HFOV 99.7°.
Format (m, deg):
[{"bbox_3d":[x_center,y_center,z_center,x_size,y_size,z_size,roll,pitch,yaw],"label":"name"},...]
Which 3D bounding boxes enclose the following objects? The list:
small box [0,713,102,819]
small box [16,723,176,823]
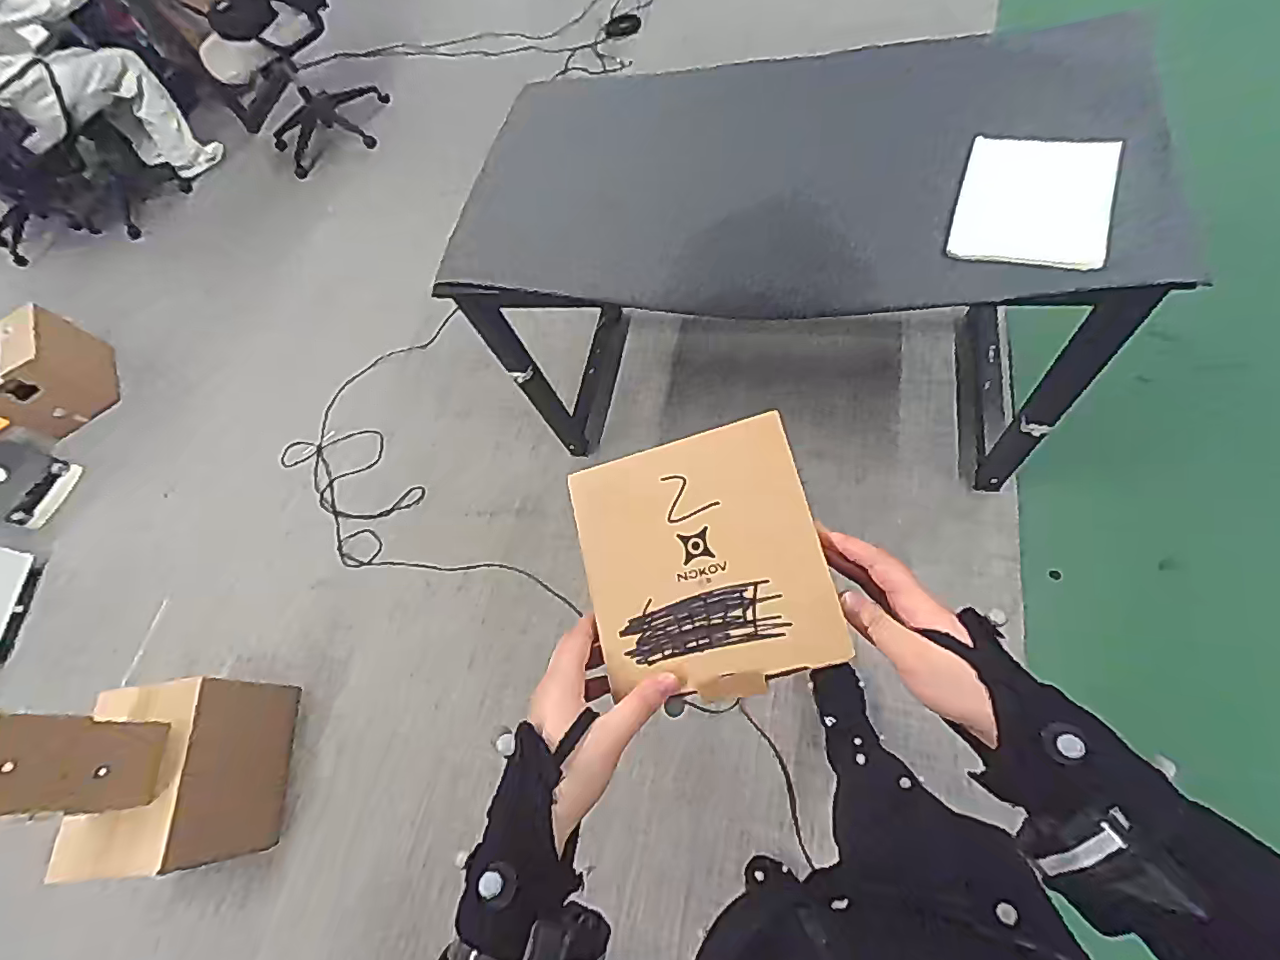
[{"bbox_3d":[-1.223,0.561,1.058,0.168,0.176,0.179,-10,64,9],"label":"small box"},{"bbox_3d":[-1.186,0.639,1.196,0.168,0.176,0.179,-11,63,9],"label":"small box"}]
